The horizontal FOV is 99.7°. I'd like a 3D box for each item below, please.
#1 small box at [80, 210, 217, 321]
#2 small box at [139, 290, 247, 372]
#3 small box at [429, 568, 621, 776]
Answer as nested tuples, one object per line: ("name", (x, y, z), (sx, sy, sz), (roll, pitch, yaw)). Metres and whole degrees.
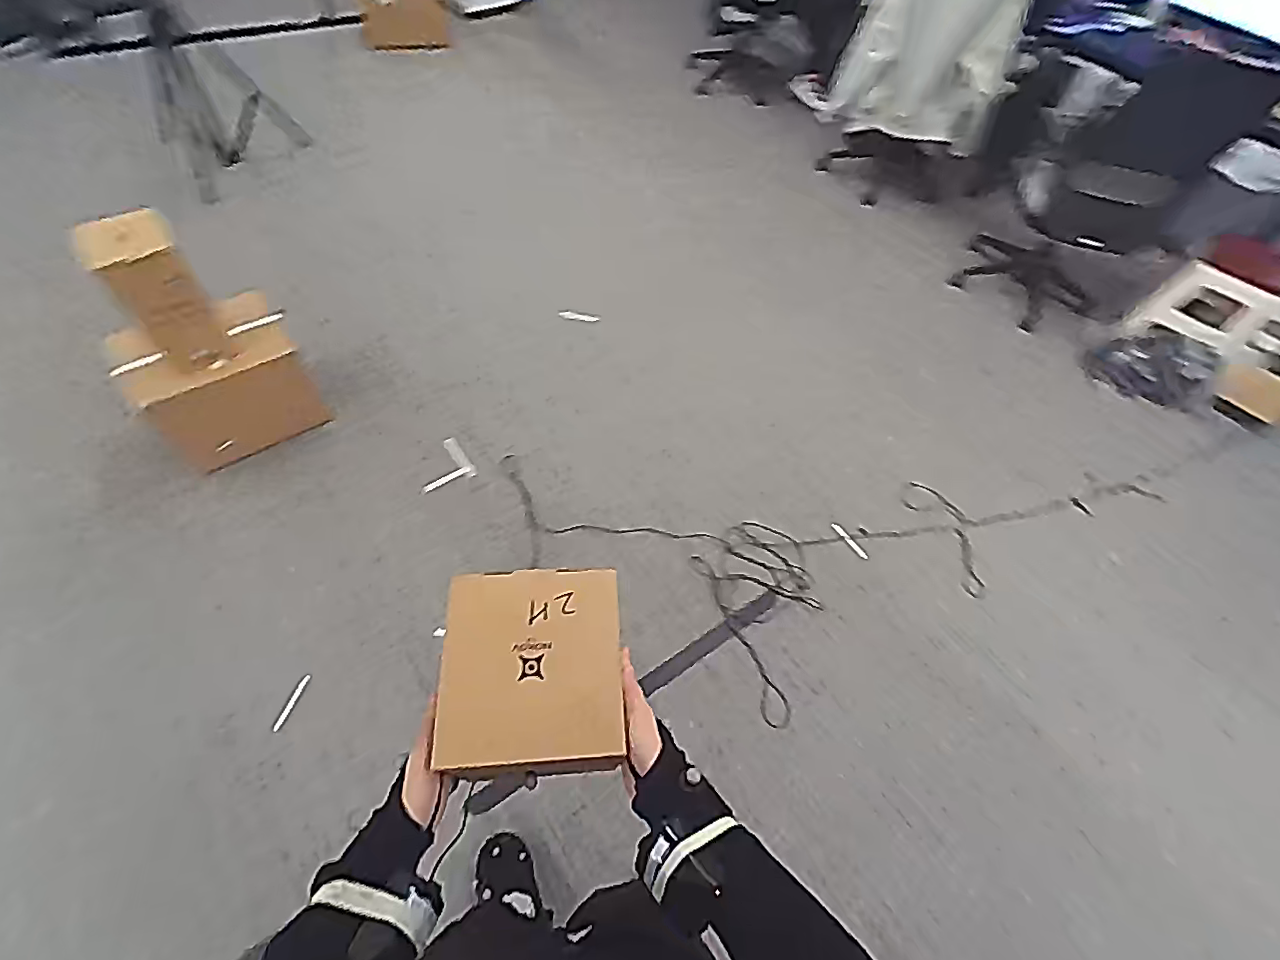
("small box", (-1.164, -0.504, 1.293), (0.168, 0.176, 0.179), (-32, 66, -25))
("small box", (-1.190, -0.419, 1.430), (0.168, 0.176, 0.179), (-31, 67, -24))
("small box", (-0.109, 0.207, 0.568), (0.168, 0.176, 0.179), (-1, 58, -8))
